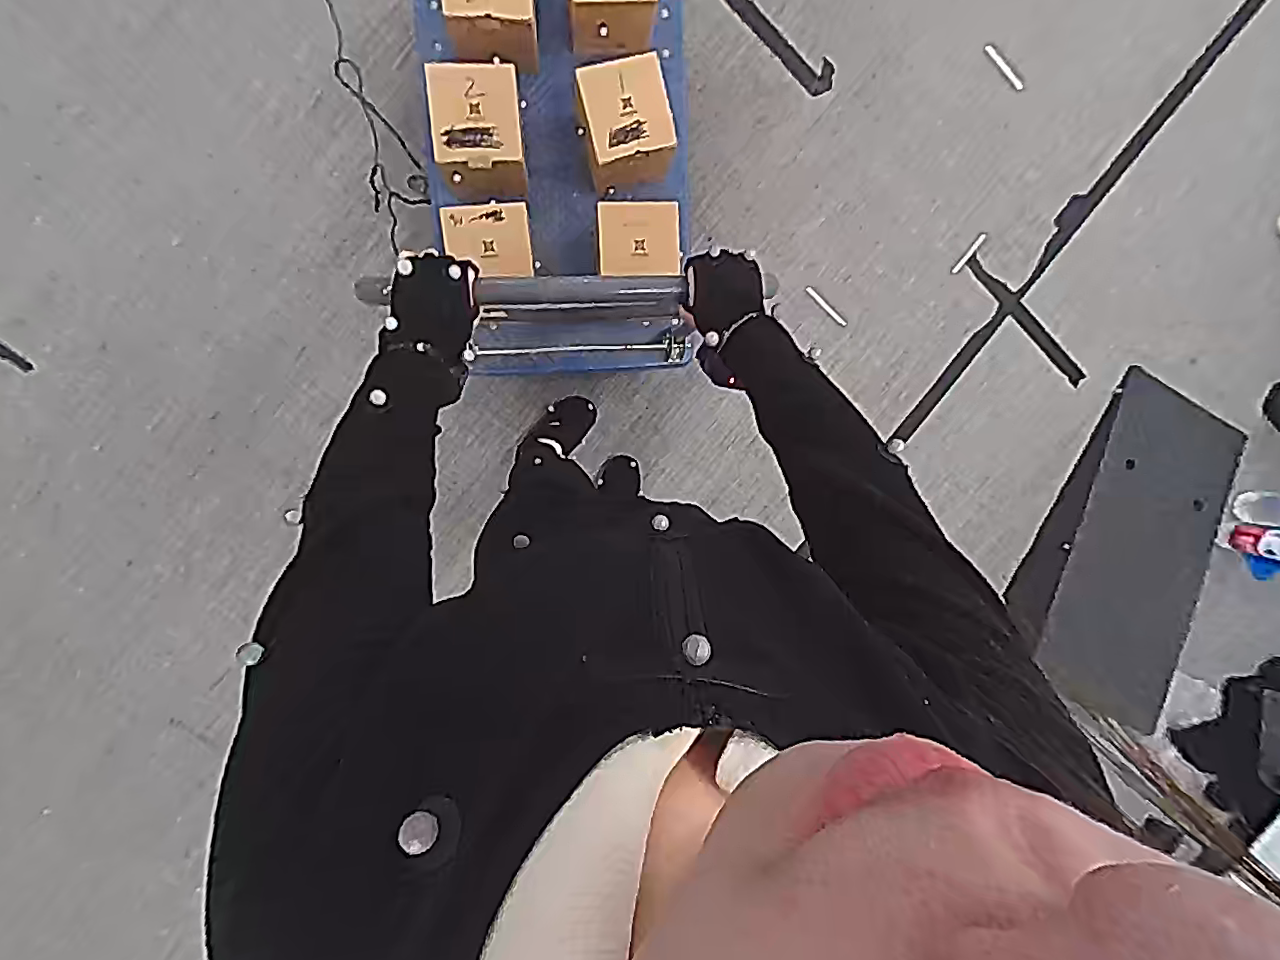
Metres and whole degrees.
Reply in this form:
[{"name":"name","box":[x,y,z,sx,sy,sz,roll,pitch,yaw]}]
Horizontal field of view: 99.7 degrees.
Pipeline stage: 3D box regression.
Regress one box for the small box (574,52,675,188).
[{"name":"small box","box":[-0.035,-0.738,1.132,0.168,0.176,0.179,-16,99,-5]}]

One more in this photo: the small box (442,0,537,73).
[{"name":"small box","box":[-0.293,-0.954,1.069,0.168,0.176,0.179,-2,99,-7]}]

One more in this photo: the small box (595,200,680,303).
[{"name":"small box","box":[-0.009,-0.484,1.172,0.168,0.176,0.179,-3,97,-7]}]

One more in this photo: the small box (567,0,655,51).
[{"name":"small box","box":[-0.065,-1.006,1.092,0.168,0.176,0.179,-7,99,-6]}]

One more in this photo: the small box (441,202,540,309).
[{"name":"small box","box":[-0.305,-0.460,1.136,0.168,0.176,0.179,-7,99,-7]}]
